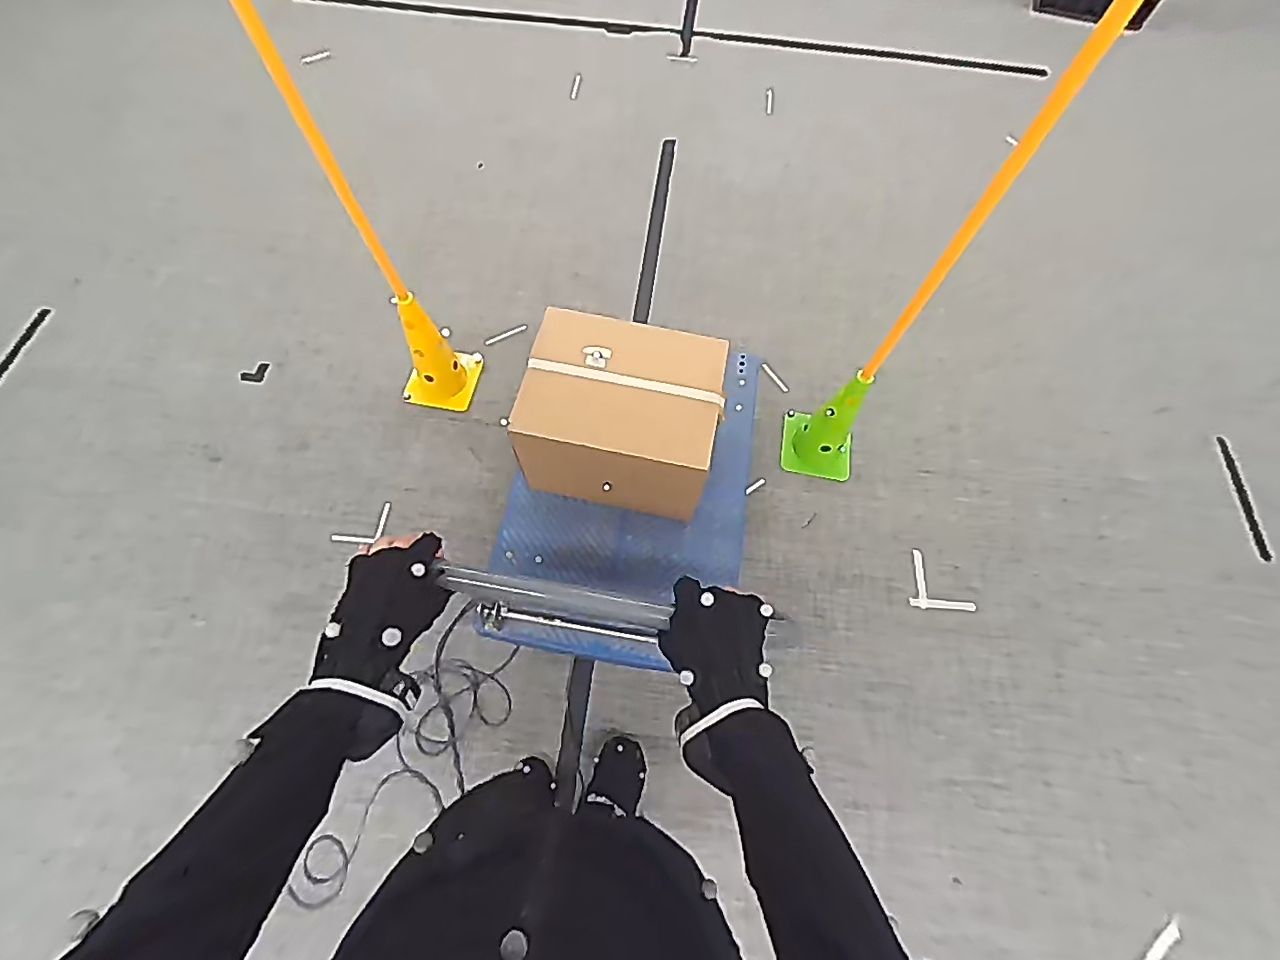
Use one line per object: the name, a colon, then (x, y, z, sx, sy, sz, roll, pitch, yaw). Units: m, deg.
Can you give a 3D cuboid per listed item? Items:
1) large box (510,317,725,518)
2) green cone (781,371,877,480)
large box: (-0.038, -0.129, 1.256, 0.408, 0.320, 0.320, 12, 67, 4)
green cone: (0.532, -0.170, 1.449, 0.202, 0.368, 0.200, 11, 67, 1)
